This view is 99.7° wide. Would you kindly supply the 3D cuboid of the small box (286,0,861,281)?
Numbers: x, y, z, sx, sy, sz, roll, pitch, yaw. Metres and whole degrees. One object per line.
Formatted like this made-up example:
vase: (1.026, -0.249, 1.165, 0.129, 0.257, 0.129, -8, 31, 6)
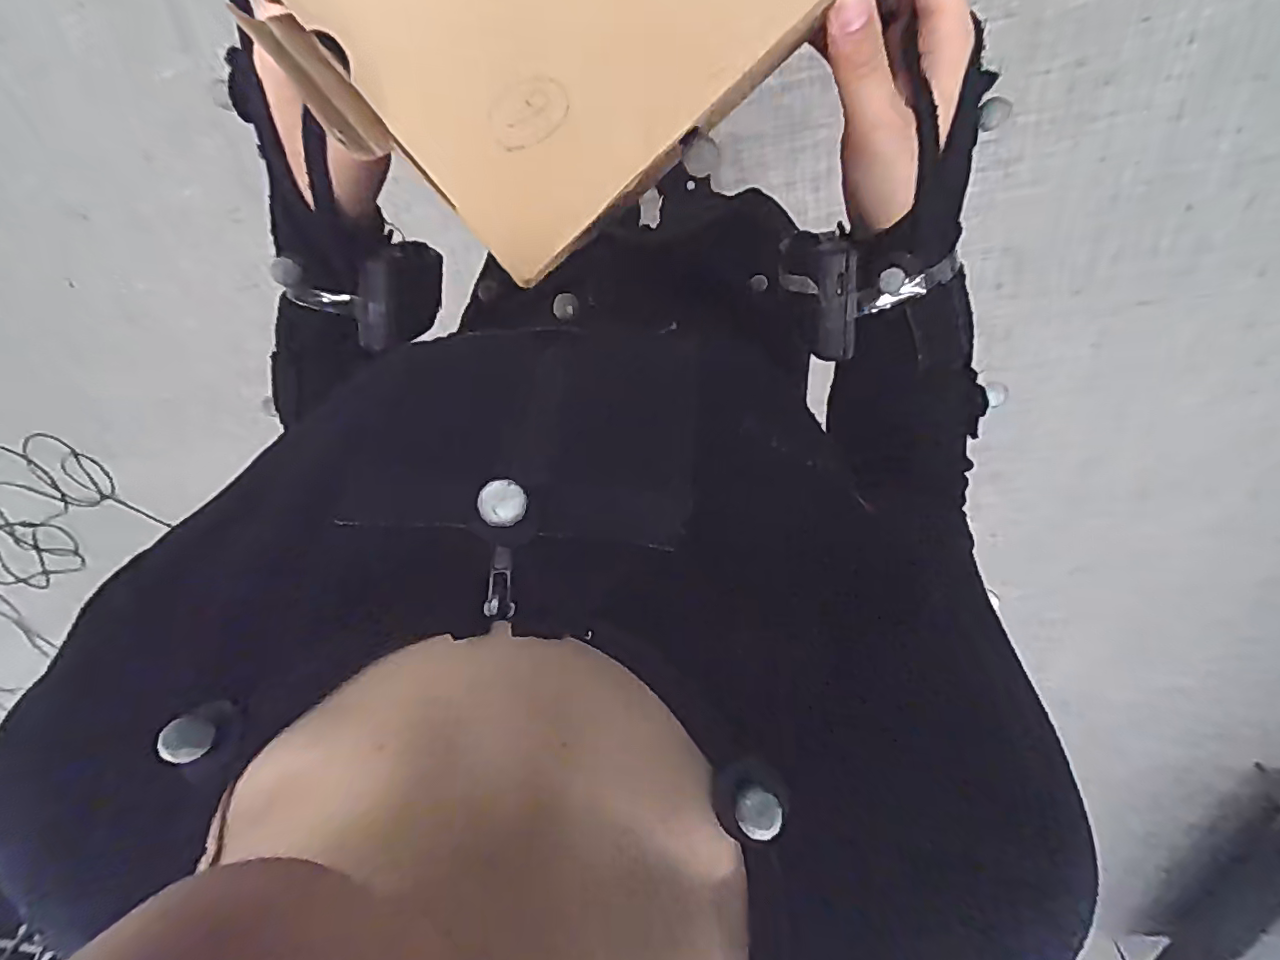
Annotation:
small box: (-0.015, -0.212, 0.213, 0.179, 0.176, 0.168, -34, 111, 23)
